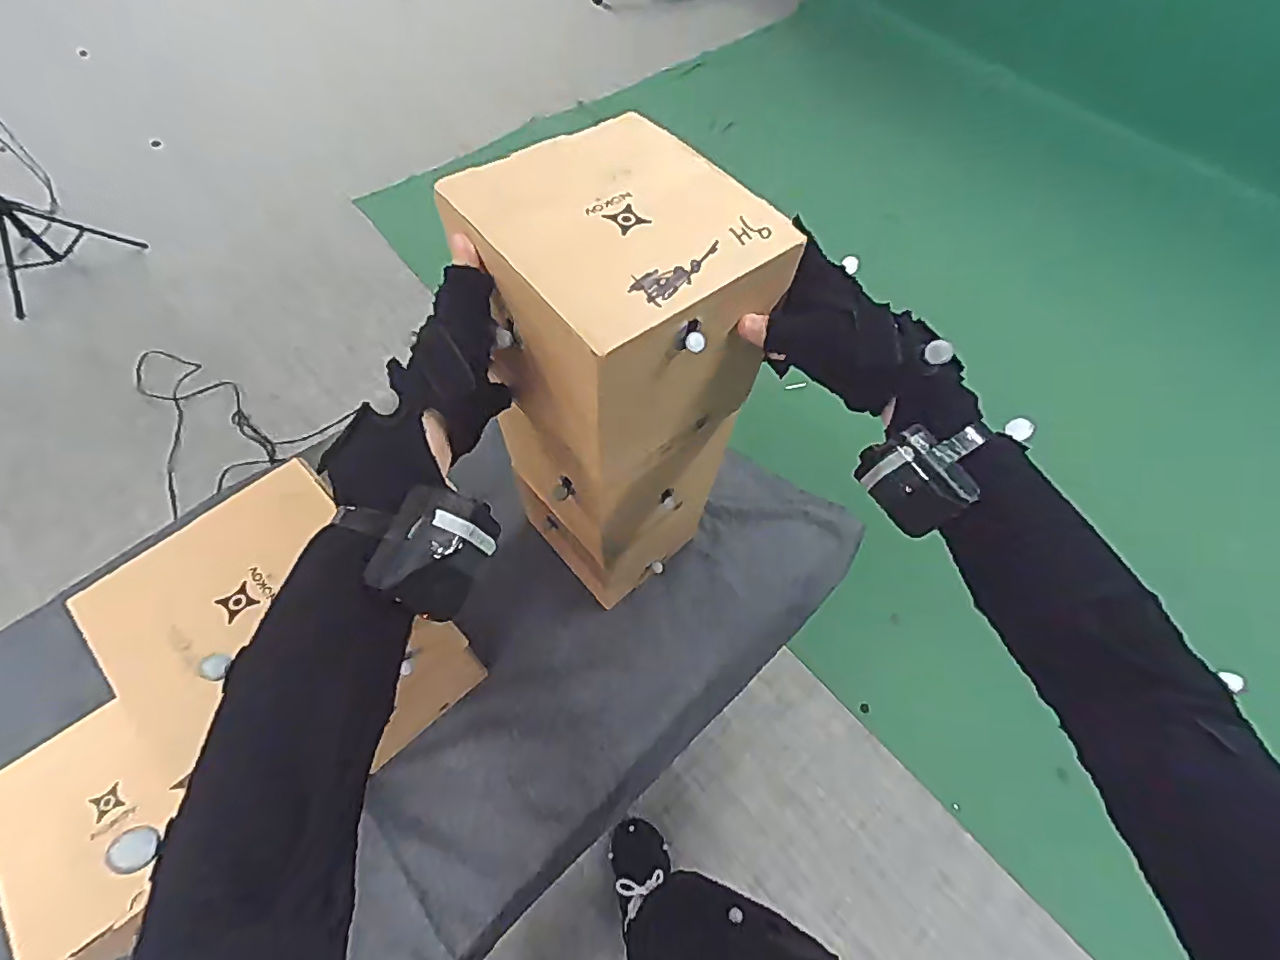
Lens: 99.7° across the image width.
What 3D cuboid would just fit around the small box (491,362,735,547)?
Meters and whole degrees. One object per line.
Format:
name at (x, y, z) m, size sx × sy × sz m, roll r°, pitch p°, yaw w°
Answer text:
small box at (-0.023, -0.051, 0.558) m, size 0.168 × 0.176 × 0.179 m, roll -36°, pitch 69°, yaw -20°

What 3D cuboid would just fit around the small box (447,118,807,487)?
small box at (-0.014, -0.128, 0.411) m, size 0.168 × 0.176 × 0.179 m, roll -35°, pitch 67°, yaw -20°

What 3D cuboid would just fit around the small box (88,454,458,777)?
small box at (-0.277, 0.117, 0.458) m, size 0.179 × 0.176 × 0.168 m, roll -41°, pitch 70°, yaw -21°
